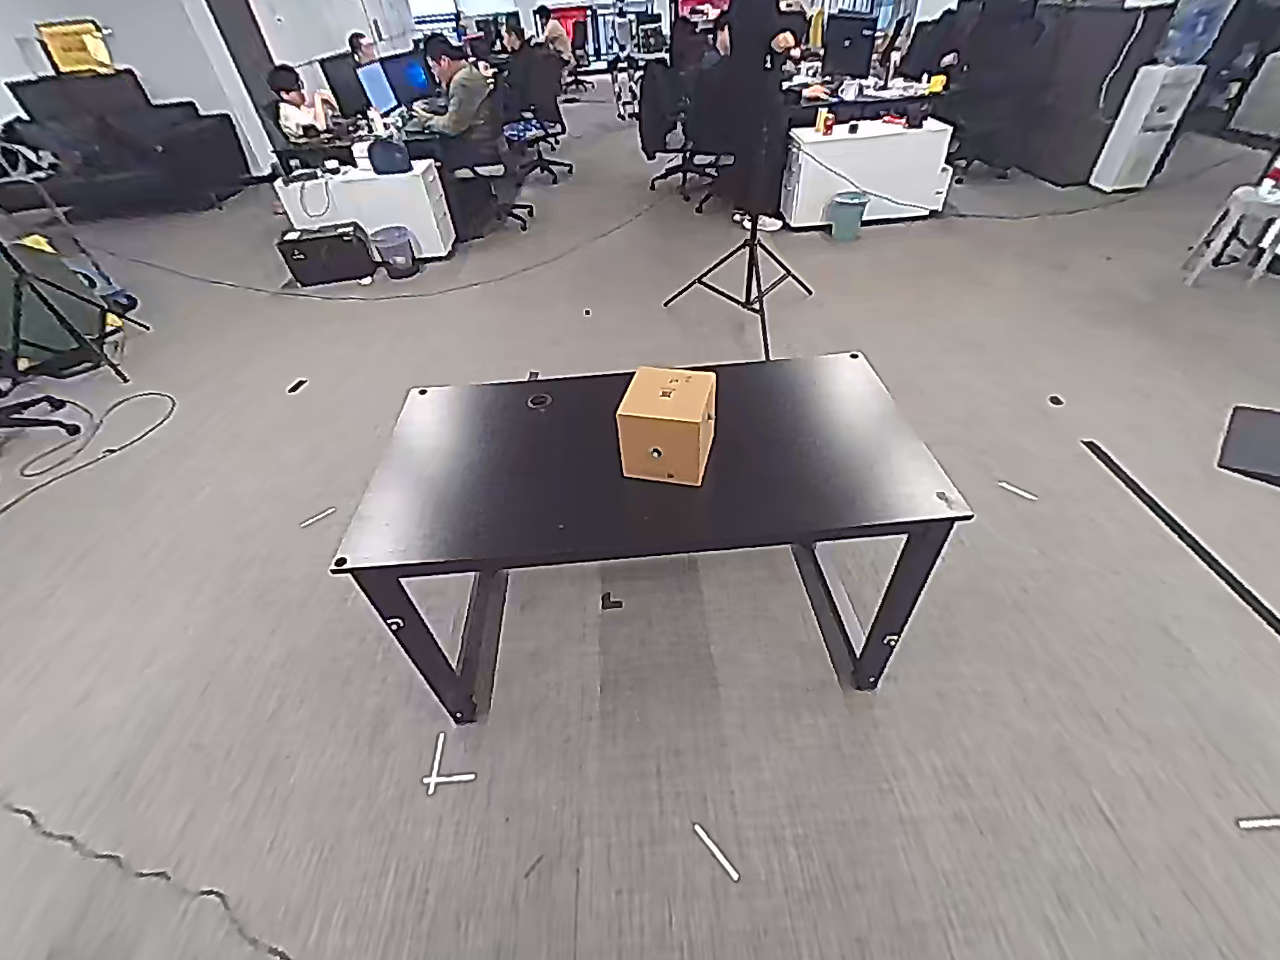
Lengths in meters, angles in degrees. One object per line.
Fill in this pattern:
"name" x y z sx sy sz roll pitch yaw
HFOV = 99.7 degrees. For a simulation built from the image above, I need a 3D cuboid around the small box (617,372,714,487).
"small box" 0.060 -0.106 1.142 0.168 0.176 0.179 8 44 13
